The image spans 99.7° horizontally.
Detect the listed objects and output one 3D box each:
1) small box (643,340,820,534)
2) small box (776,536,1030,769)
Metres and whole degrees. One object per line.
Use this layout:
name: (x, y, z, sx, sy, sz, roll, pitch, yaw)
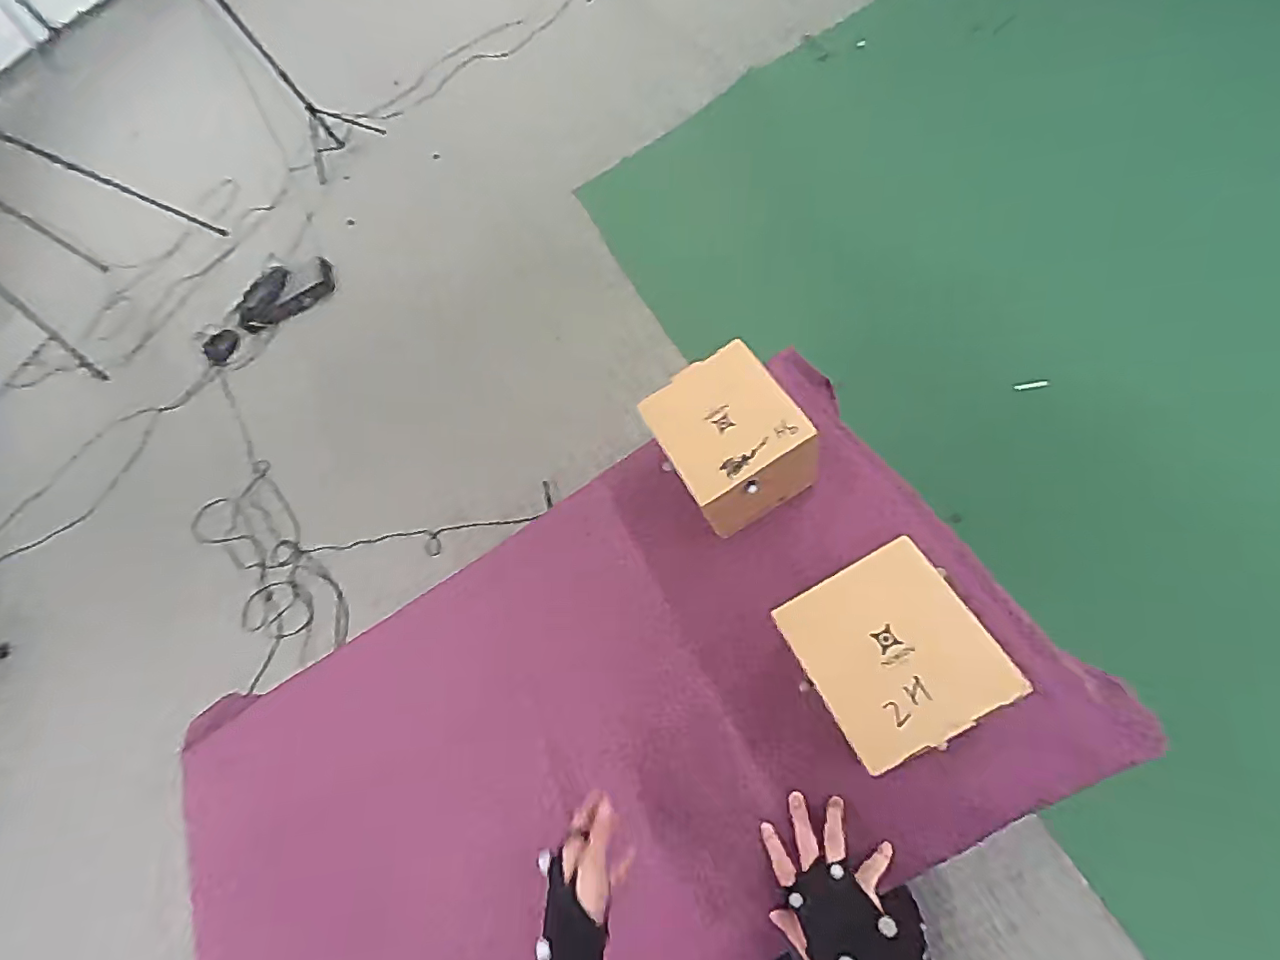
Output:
small box: (0.131, -0.051, 0.753, 0.168, 0.176, 0.179, -33, 63, 5)
small box: (0.272, 0.195, 0.601, 0.168, 0.176, 0.179, -31, 60, 5)
